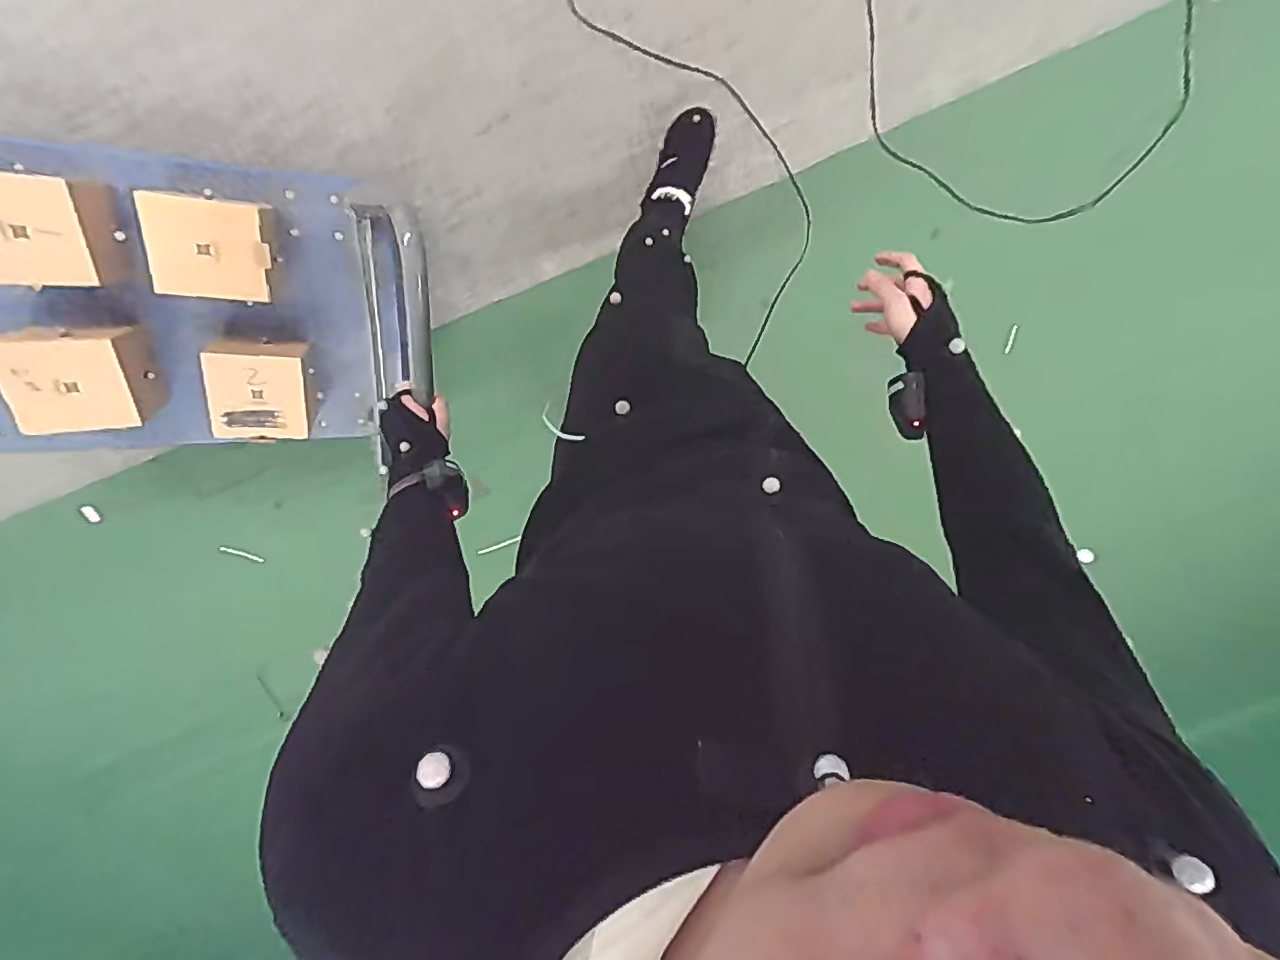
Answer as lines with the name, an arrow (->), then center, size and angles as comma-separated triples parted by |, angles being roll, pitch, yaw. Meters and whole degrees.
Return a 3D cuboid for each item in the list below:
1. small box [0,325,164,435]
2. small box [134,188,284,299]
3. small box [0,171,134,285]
small box -> -1.047, -0.198, 1.025 | 0.179, 0.176, 0.168 | -8, 117, -21
small box -> -0.798, -0.443, 1.022 | 0.179, 0.176, 0.168 | -4, 116, -25
small box -> -1.025, -0.430, 0.921 | 0.179, 0.176, 0.168 | -7, 118, -23
